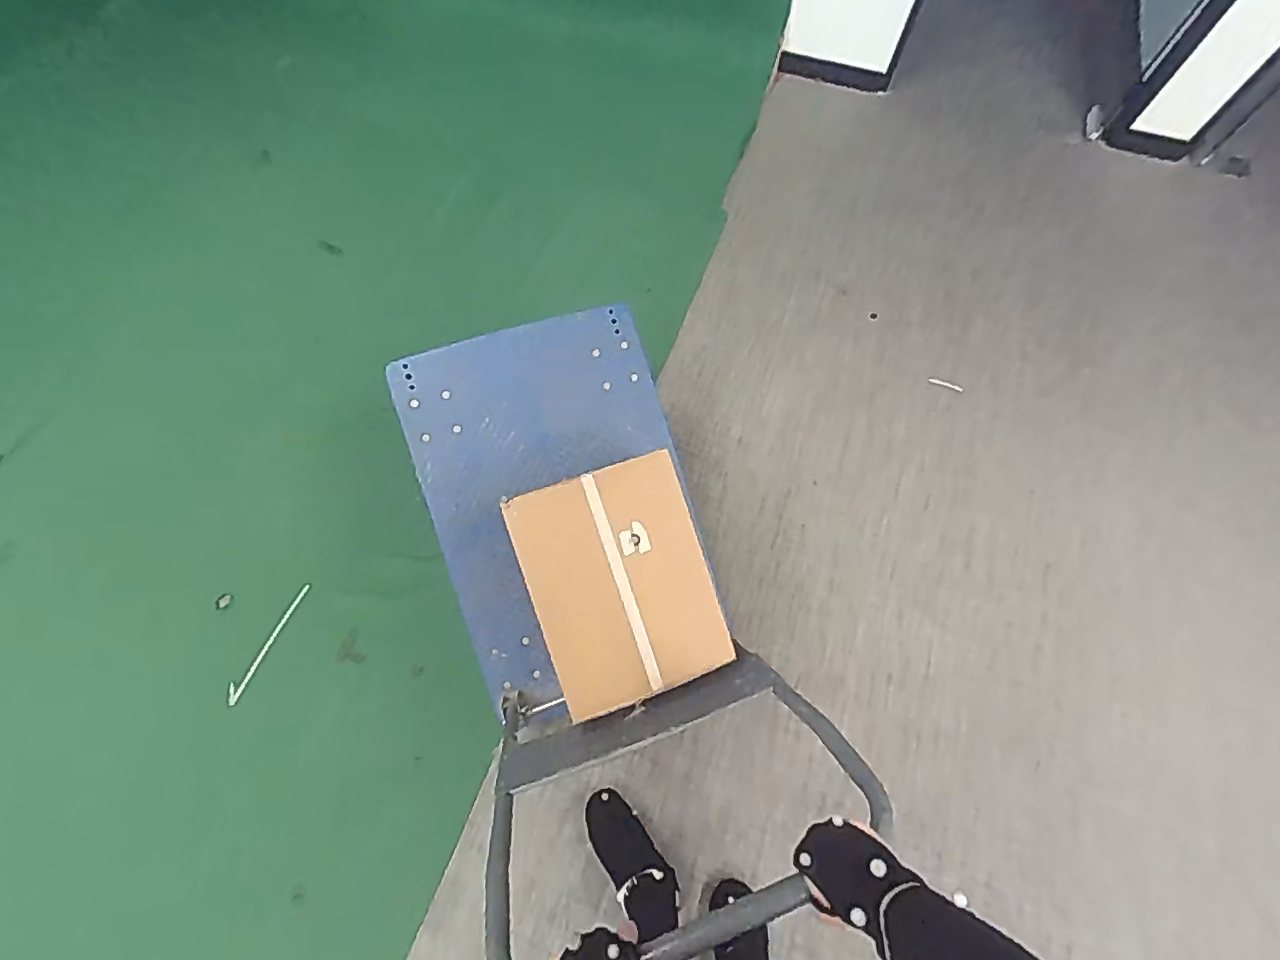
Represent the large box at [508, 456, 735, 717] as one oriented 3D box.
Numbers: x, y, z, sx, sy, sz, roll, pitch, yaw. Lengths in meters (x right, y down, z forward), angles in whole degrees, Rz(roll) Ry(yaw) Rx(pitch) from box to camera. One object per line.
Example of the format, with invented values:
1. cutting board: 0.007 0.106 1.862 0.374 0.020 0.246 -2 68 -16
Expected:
1. large box: -0.046 0.195 1.123 0.320 0.320 0.408 -19 91 -9
